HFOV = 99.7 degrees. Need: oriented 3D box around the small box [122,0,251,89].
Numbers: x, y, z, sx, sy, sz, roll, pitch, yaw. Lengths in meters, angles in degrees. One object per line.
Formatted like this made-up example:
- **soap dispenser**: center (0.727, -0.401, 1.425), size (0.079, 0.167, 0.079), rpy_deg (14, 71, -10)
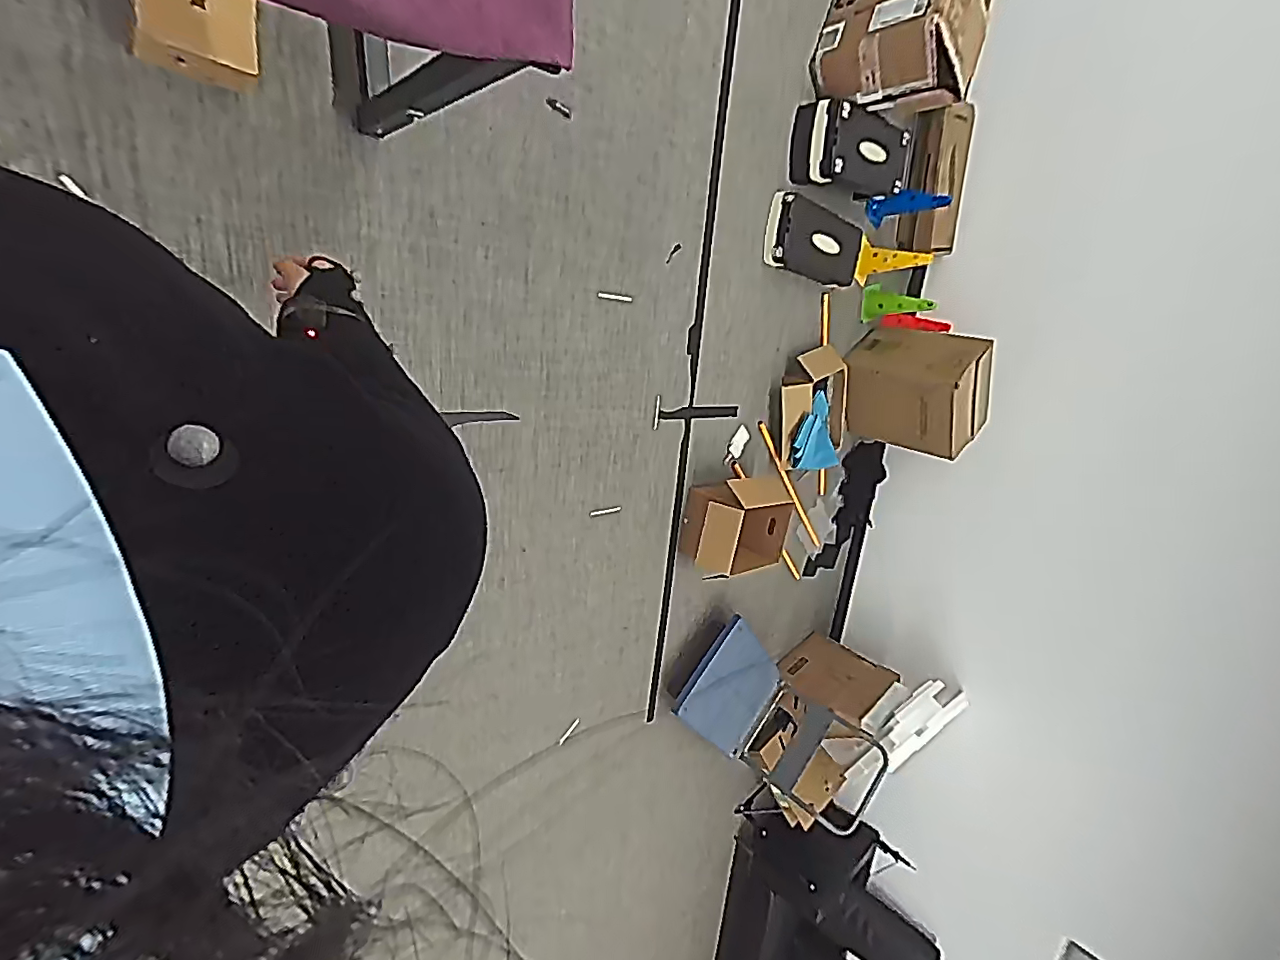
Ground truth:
- **small box**: center (-0.810, -0.841, 0.967), size (0.168, 0.176, 0.179), rpy_deg (-6, 109, -43)
